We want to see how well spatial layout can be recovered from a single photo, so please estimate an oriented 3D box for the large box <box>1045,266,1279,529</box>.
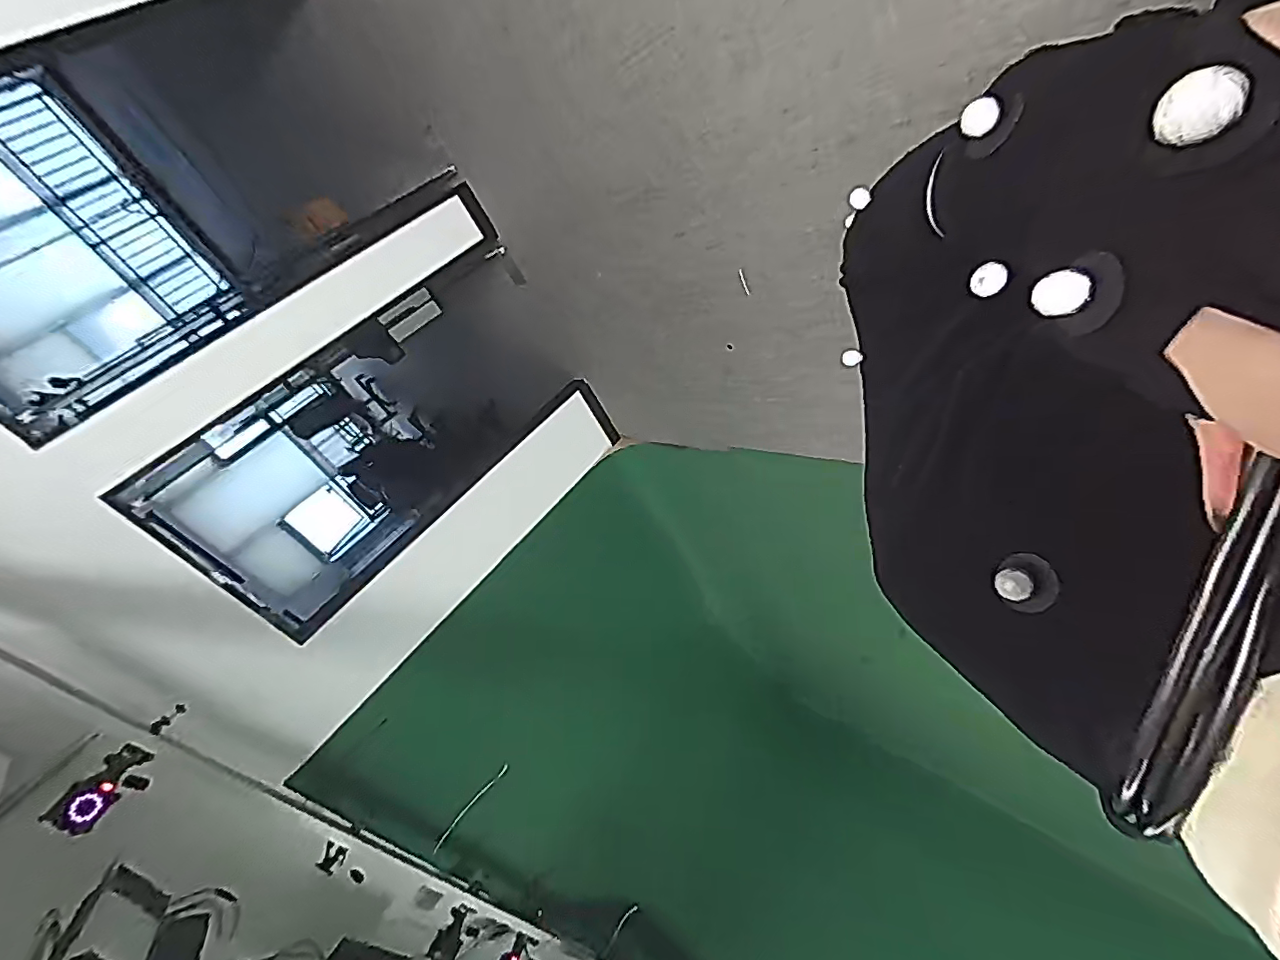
[{"bbox_3d":[1.108,-0.159,1.133,0.320,0.320,0.408,6,138,52],"label":"large box"}]
